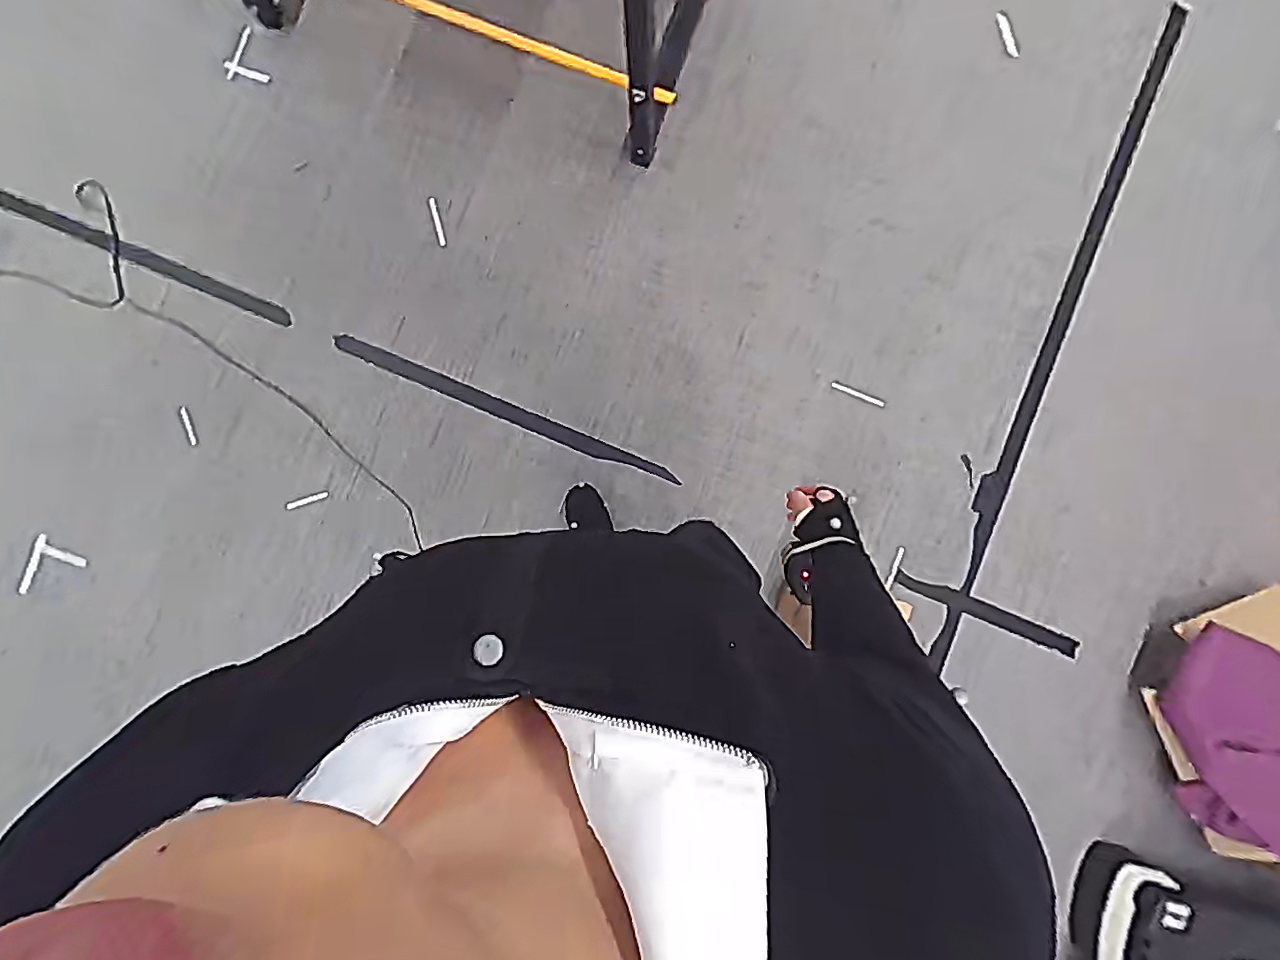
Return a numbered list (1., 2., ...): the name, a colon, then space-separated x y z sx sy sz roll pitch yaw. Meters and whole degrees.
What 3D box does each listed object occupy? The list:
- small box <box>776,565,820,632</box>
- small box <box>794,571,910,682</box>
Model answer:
1. small box: 0.473 0.329 1.400 0.179 0.176 0.168 23 89 2
2. small box: 0.473 0.323 1.234 0.168 0.176 0.179 22 90 1
